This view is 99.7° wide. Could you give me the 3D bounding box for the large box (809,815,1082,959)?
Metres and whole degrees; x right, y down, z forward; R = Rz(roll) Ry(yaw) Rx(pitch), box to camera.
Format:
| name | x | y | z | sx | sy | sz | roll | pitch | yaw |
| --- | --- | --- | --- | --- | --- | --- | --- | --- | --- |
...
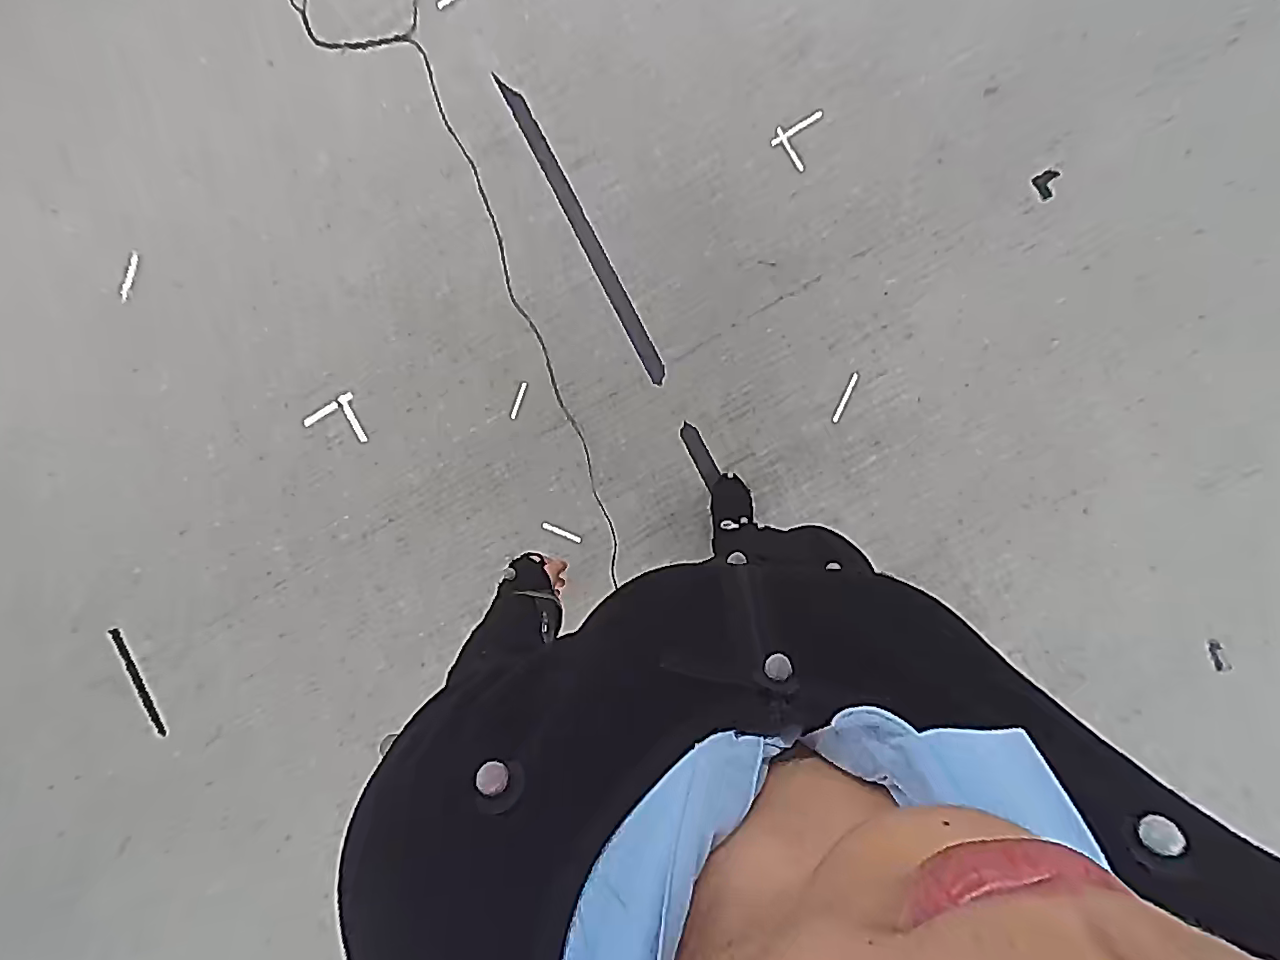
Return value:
| name | x | y | z | sx | sy | sz | roll | pitch | yaw |
| --- | --- | --- | --- | --- | --- | --- | --- | --- | --- |
| large box | 0.610 | 0.956 | 1.106 | 0.408 | 0.320 | 0.320 | -14 | 88 | 5 |
